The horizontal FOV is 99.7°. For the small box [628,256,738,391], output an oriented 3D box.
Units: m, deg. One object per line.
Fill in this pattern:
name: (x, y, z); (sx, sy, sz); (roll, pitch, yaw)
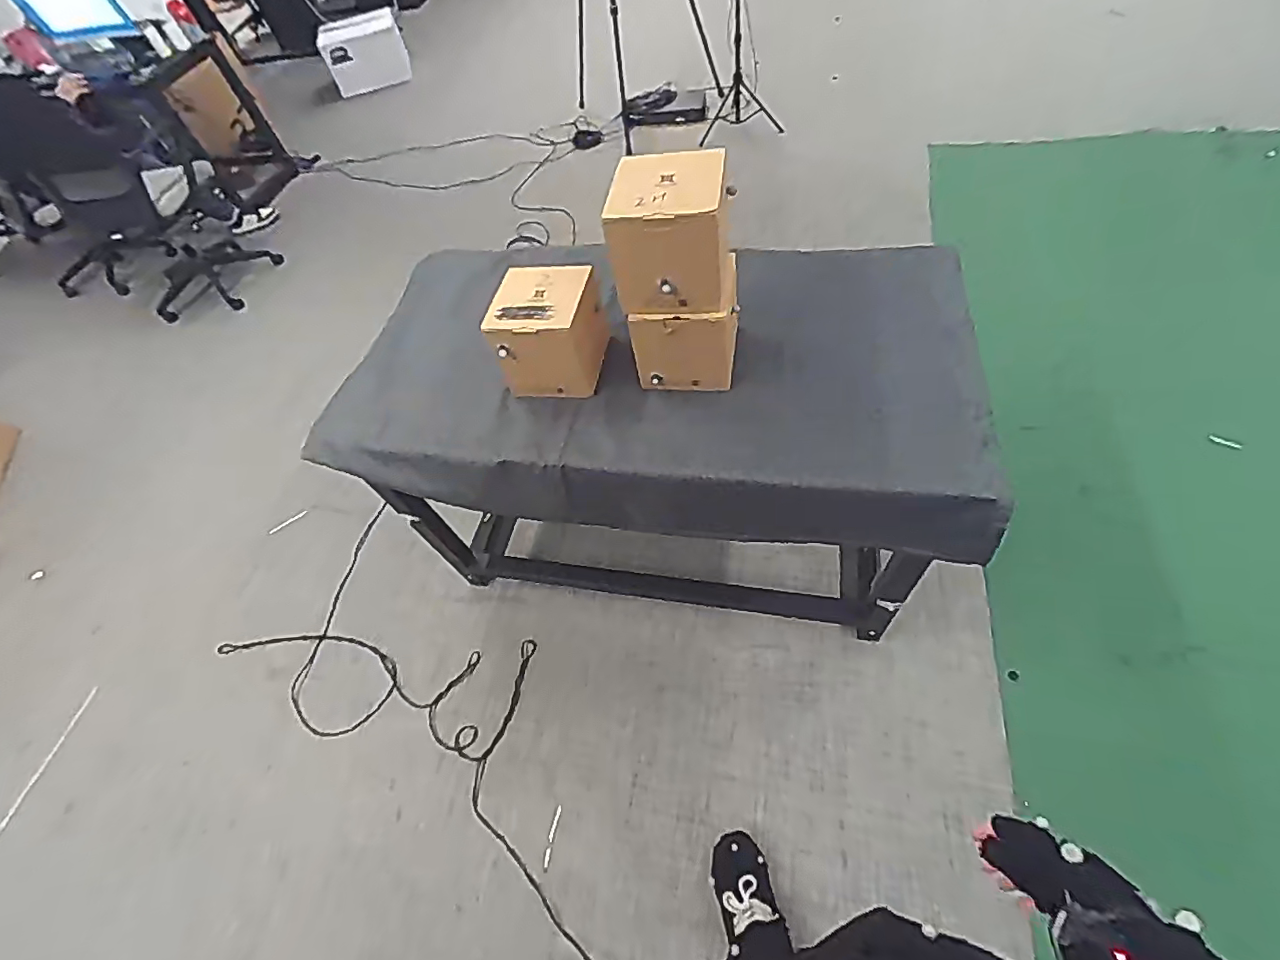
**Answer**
small box: (0.087, -0.276, 0.975); (0.168, 0.176, 0.179); (4, 56, 13)

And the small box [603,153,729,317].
small box: (0.051, -0.380, 0.852); (0.168, 0.176, 0.179); (2, 57, 13)
